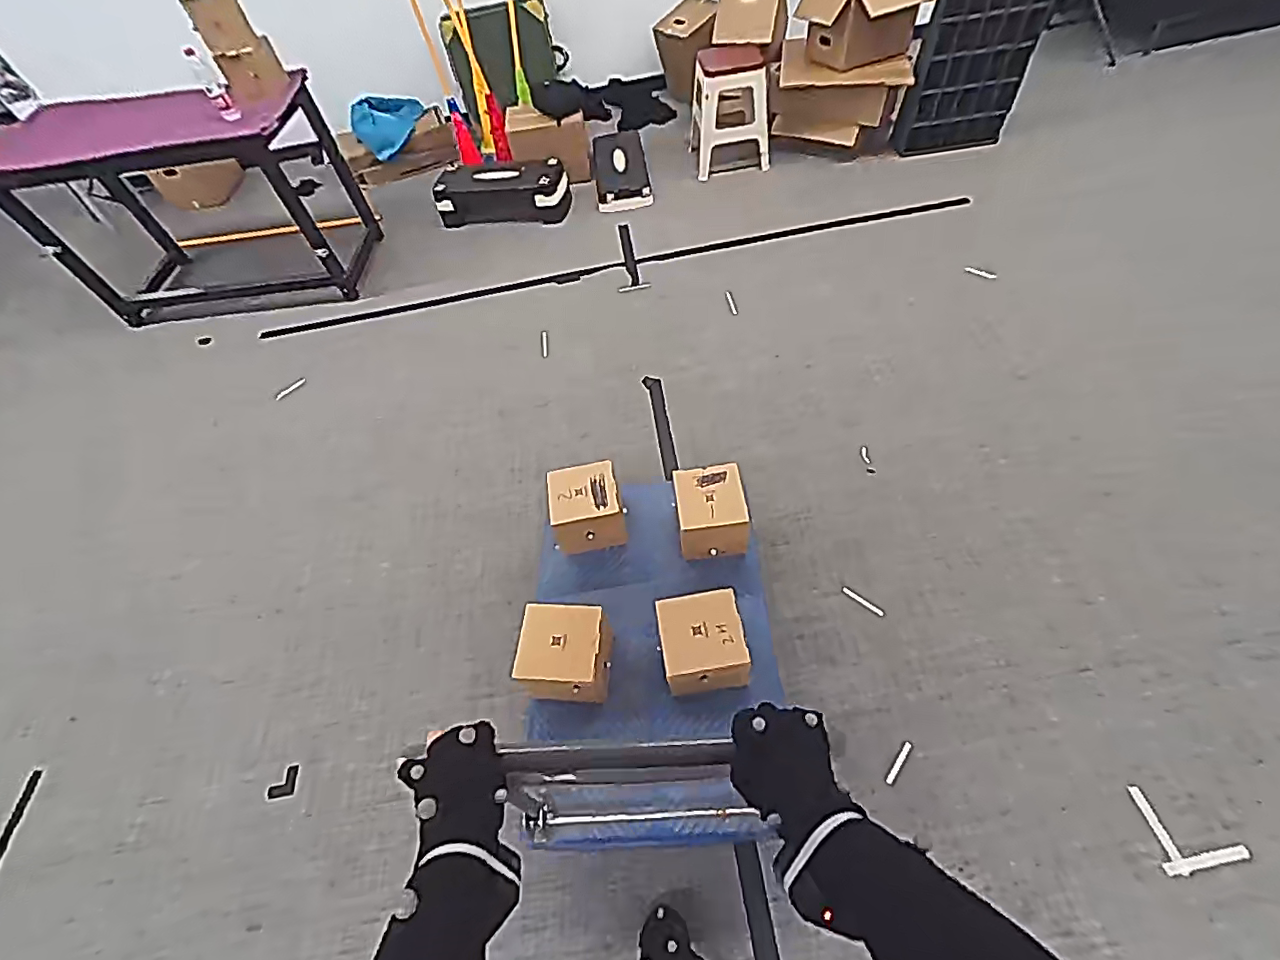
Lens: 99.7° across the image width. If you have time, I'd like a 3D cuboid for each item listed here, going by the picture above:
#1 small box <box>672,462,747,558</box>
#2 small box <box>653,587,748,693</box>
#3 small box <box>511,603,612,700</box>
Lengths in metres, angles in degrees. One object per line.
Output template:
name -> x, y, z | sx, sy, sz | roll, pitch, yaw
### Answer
small box -> 0.174, 0.079, 1.385 | 0.168, 0.176, 0.179 | -8, 56, 3
small box -> 0.134, 0.359, 1.196 | 0.179, 0.176, 0.168 | -10, 55, 1
small box -> -0.168, 0.389, 1.217 | 0.179, 0.176, 0.168 | 0, 55, 6
